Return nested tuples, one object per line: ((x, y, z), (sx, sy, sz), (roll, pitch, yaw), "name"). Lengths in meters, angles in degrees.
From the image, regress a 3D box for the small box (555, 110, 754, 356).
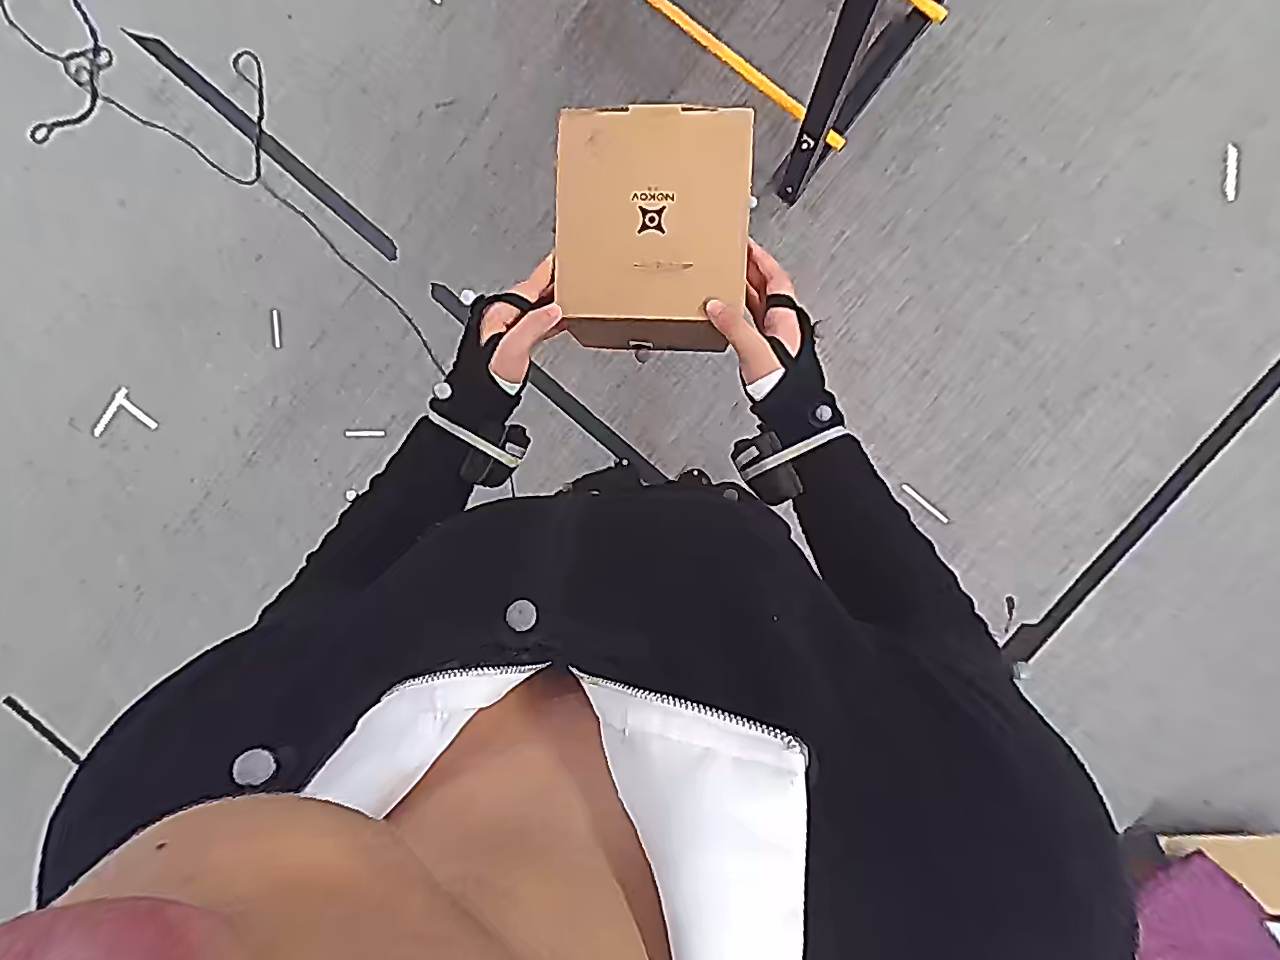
((0.014, -0.228, 0.539), (0.168, 0.176, 0.179), (2, 94, 3), "small box")
